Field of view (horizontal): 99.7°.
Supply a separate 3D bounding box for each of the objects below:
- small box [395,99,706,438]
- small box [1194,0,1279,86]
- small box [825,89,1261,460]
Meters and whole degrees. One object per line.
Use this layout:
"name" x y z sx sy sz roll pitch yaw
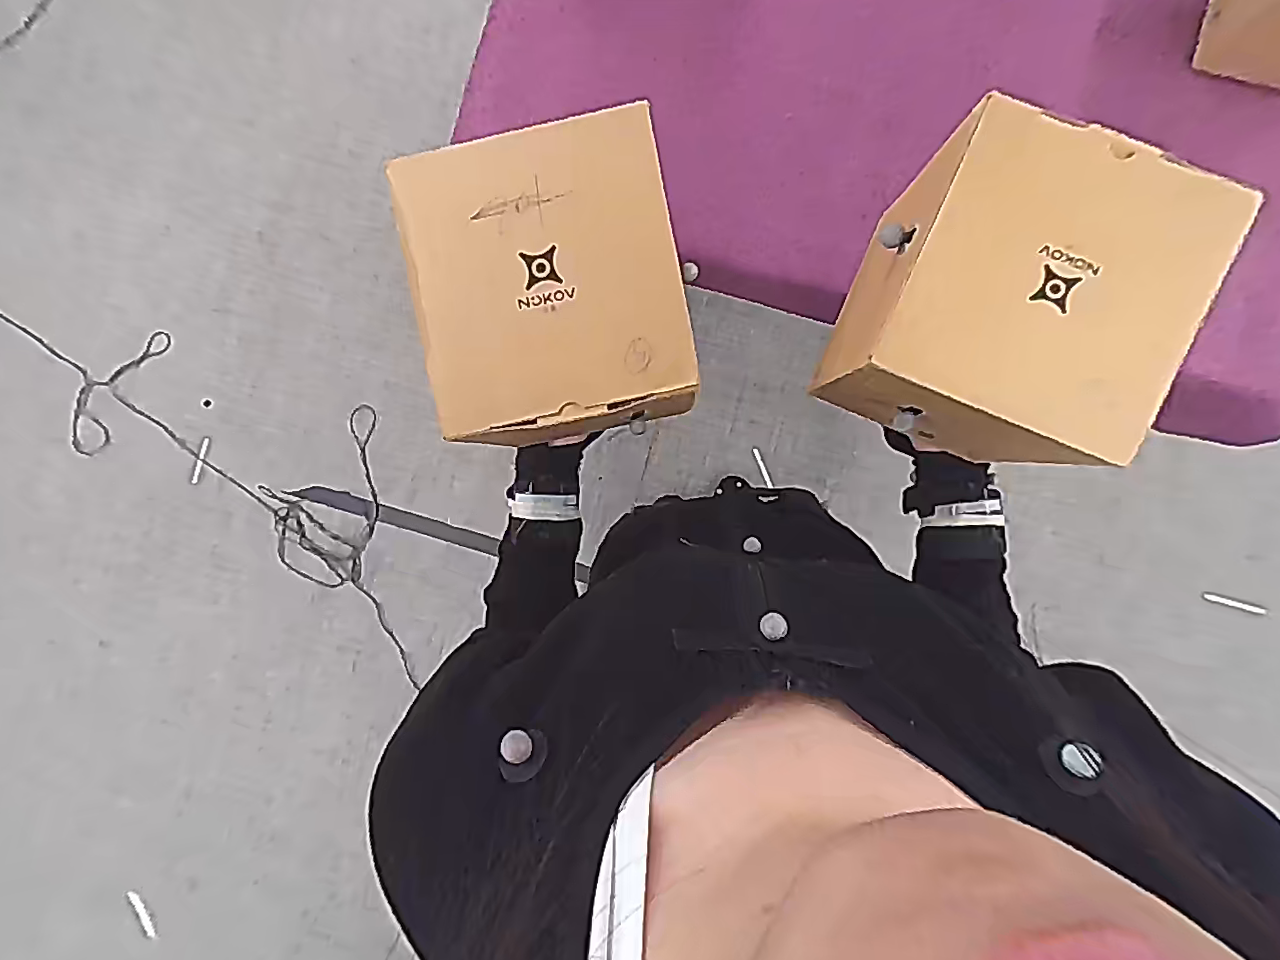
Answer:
"small box" -0.050 -0.130 0.408 0.168 0.176 0.179 -12 91 2
"small box" 0.860 -0.631 0.665 0.179 0.176 0.168 16 91 2
"small box" 0.256 -0.124 0.400 0.168 0.176 0.179 23 93 3
